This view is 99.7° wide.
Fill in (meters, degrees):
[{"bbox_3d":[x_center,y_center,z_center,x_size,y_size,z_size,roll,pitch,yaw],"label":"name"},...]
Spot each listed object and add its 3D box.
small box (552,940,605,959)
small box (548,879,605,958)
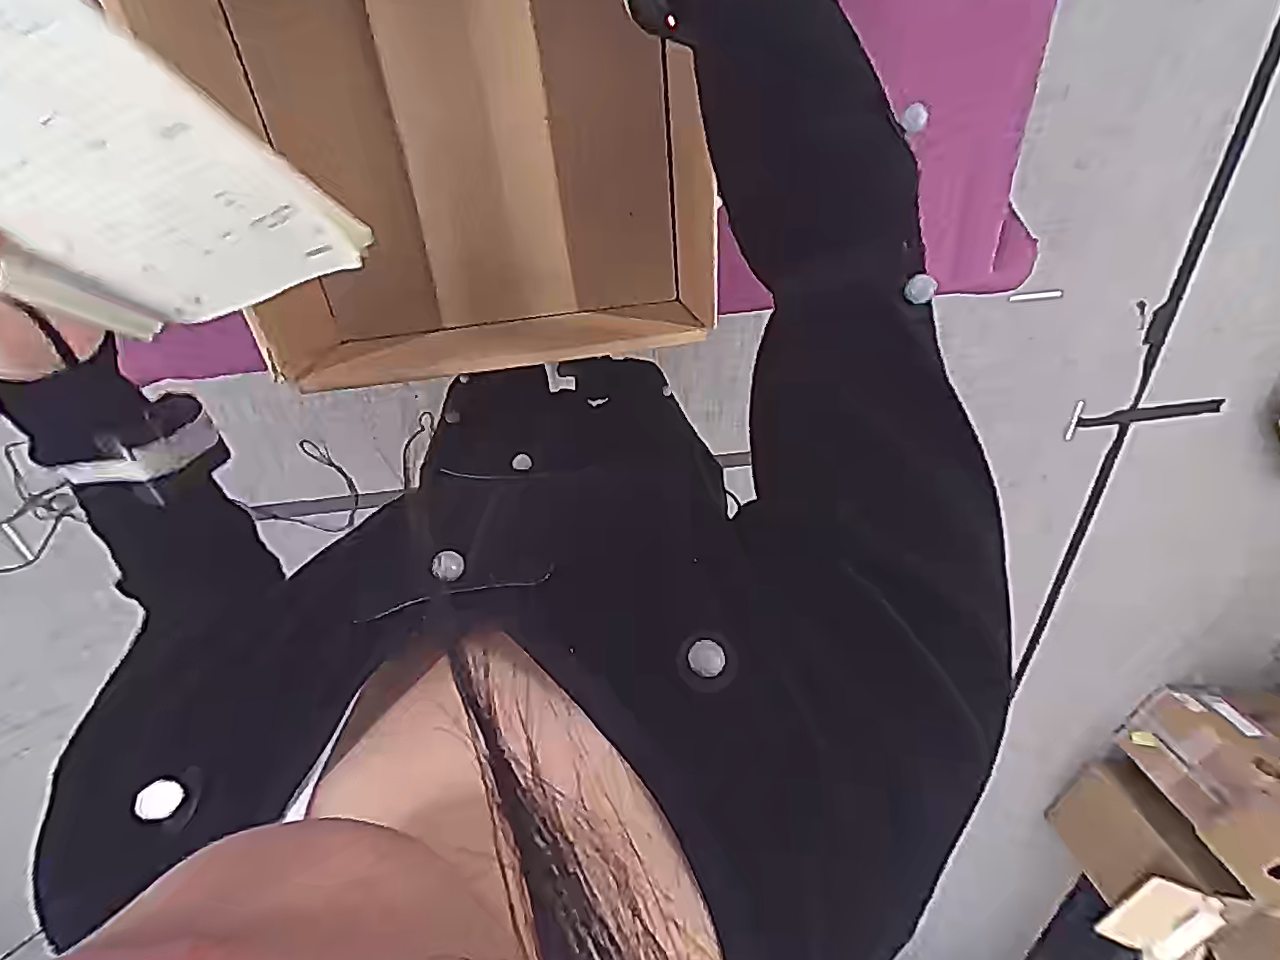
[{"bbox_3d":[-0.191,1.588,1.697,0.168,0.176,0.179,-3,121,-8],"label":"small box"},{"bbox_3d":[-0.215,1.493,1.831,0.179,0.176,0.168,-5,122,-7],"label":"small box"}]
